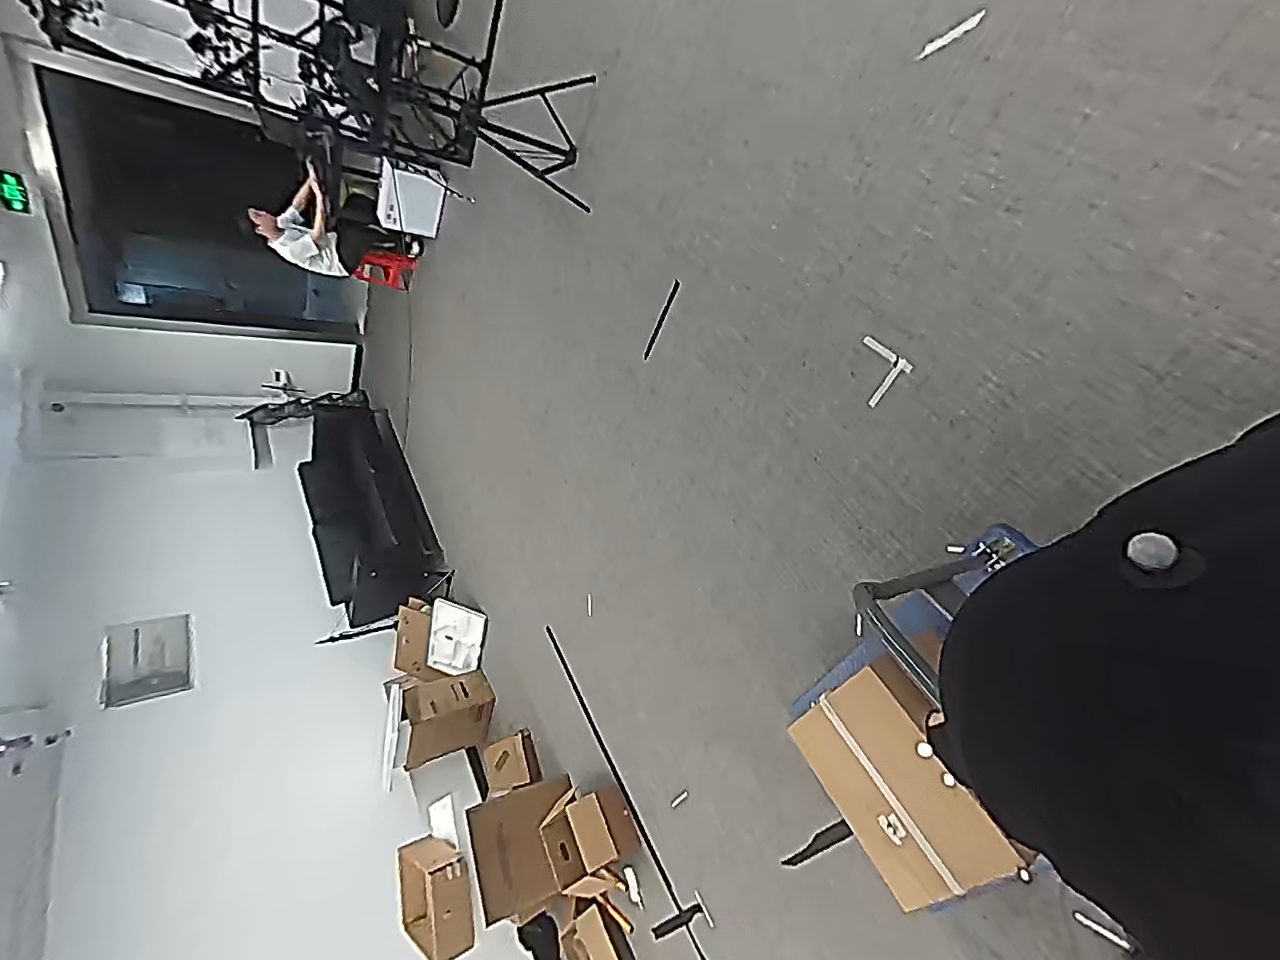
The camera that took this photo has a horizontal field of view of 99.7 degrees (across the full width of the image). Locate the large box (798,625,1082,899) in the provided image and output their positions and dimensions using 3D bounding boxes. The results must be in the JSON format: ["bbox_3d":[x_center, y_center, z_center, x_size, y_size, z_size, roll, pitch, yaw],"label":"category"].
[{"bbox_3d":[0.652,0.603,1.216,0.408,0.320,0.320,55,134,32],"label":"large box"}]
